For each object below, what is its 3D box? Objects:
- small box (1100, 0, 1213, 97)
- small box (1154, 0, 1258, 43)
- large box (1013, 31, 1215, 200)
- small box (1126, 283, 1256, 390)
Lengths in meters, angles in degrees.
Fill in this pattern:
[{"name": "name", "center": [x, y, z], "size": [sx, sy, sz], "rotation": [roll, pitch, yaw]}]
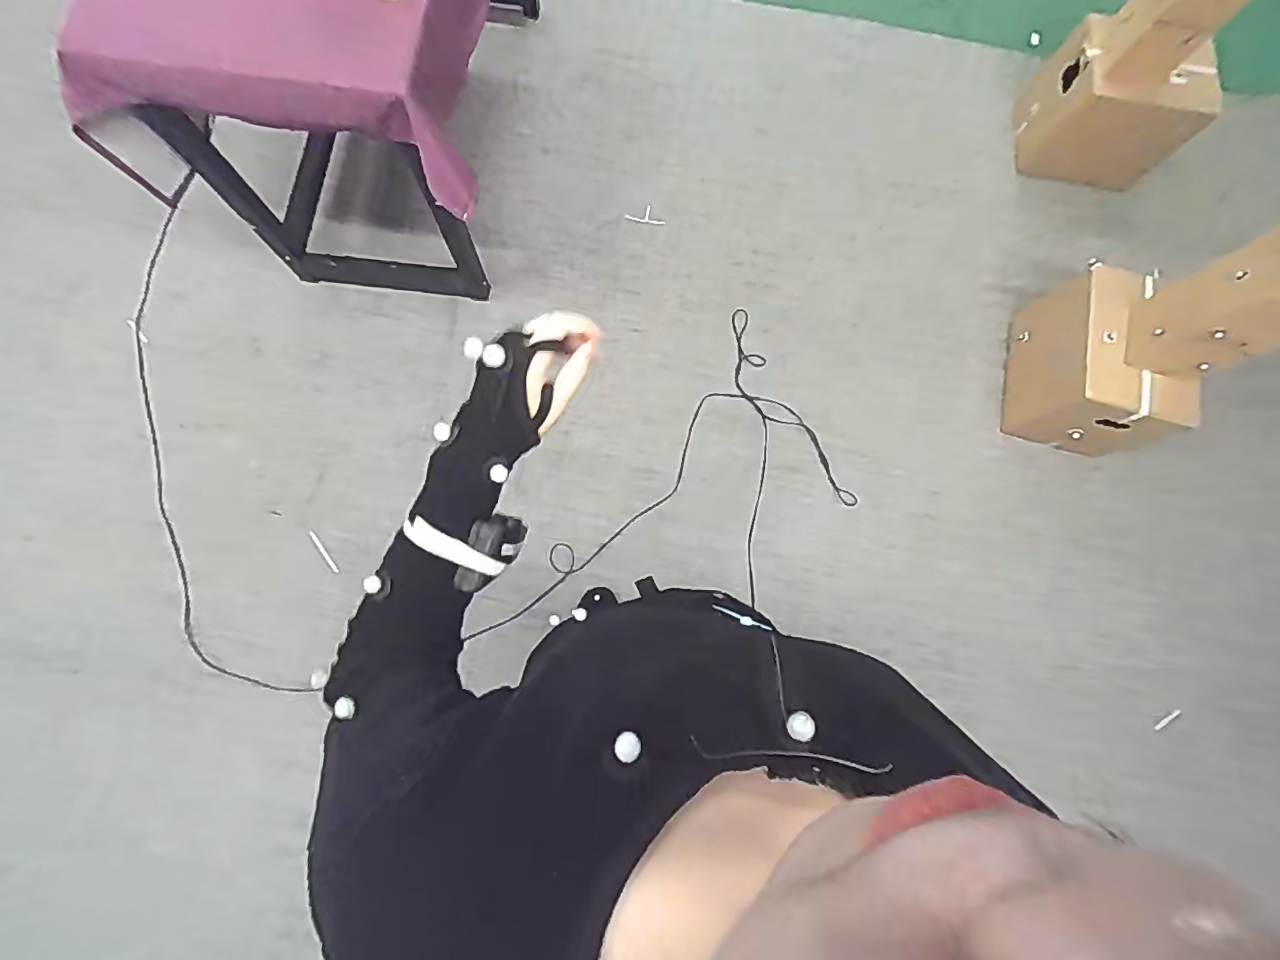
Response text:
[{"name": "small box", "center": [1.479, -1.254, 1.562], "size": [0.179, 0.176, 0.168], "rotation": [11, 76, -2]}, {"name": "small box", "center": [1.487, -1.284, 1.399], "size": [0.179, 0.176, 0.168], "rotation": [11, 77, -2]}, {"name": "large box", "center": [1.551, -1.197, 1.804], "size": [0.408, 0.320, 0.320], "rotation": [9, 77, -3]}, {"name": "small box", "center": [1.365, -0.348, 1.344], "size": [0.168, 0.176, 0.179], "rotation": [19, 76, -1]}]
